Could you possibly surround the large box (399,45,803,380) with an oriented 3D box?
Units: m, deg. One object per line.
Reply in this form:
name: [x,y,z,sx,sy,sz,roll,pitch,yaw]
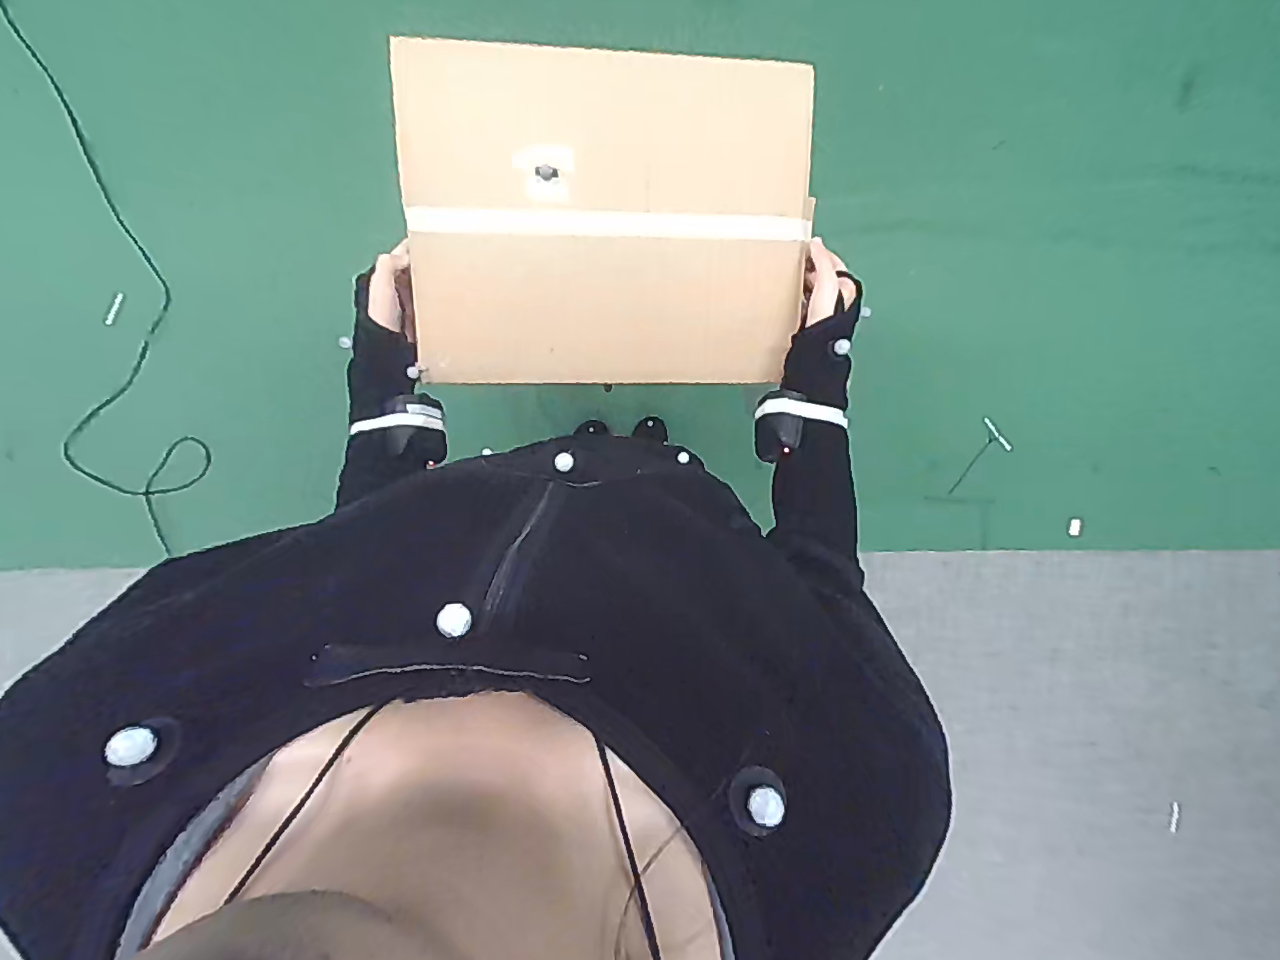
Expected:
large box: [-0.045,-0.299,0.705,0.408,0.320,0.320,0,103,-6]
